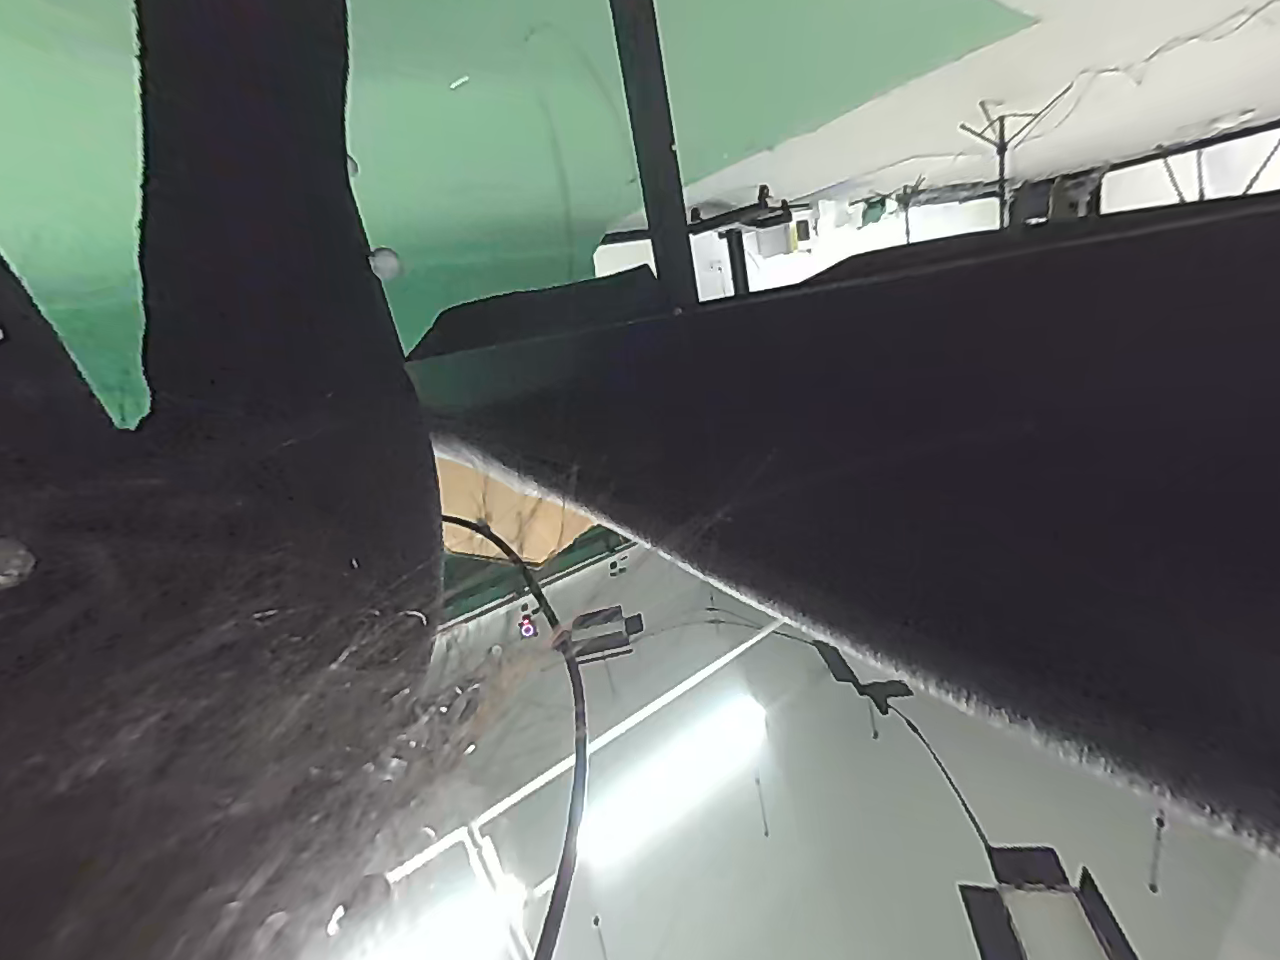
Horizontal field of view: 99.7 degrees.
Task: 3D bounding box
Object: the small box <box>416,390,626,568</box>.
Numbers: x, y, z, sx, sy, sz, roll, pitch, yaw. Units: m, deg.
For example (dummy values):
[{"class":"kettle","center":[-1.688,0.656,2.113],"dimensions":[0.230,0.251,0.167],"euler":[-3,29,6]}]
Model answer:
[{"class":"small box","center":[-0.148,-0.009,0.680],"dimensions":[0.179,0.176,0.168],"euler":[0,-158,37]}]
